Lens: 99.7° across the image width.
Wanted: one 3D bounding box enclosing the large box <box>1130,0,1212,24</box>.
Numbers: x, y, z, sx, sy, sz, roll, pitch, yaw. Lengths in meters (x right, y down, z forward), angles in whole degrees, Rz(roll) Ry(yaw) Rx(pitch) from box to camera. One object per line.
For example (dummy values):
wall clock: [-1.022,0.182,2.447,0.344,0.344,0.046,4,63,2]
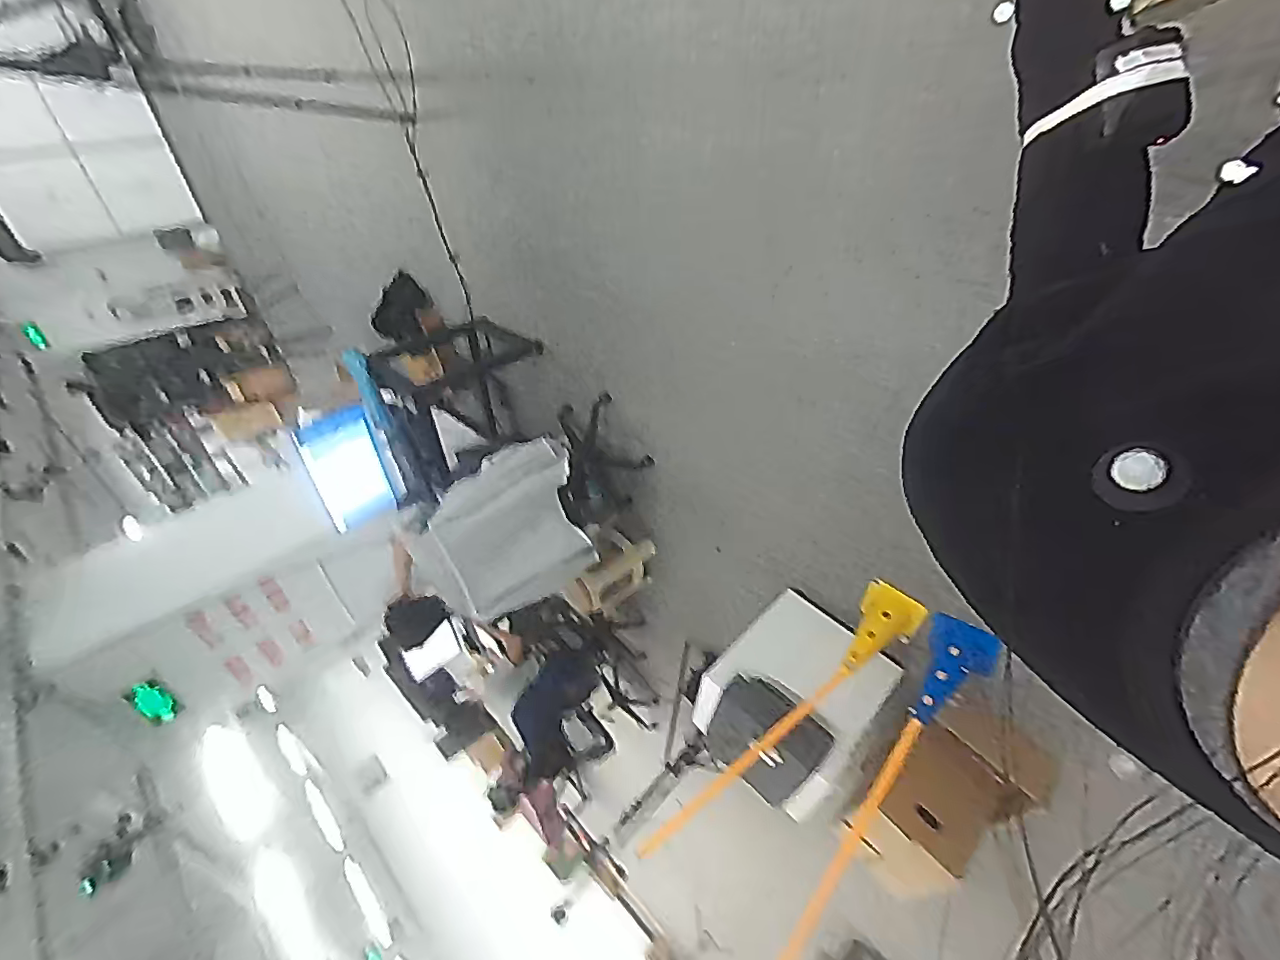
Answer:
large box: [0.525,-0.527,0.277,0.408,0.320,0.320,1,119,44]
